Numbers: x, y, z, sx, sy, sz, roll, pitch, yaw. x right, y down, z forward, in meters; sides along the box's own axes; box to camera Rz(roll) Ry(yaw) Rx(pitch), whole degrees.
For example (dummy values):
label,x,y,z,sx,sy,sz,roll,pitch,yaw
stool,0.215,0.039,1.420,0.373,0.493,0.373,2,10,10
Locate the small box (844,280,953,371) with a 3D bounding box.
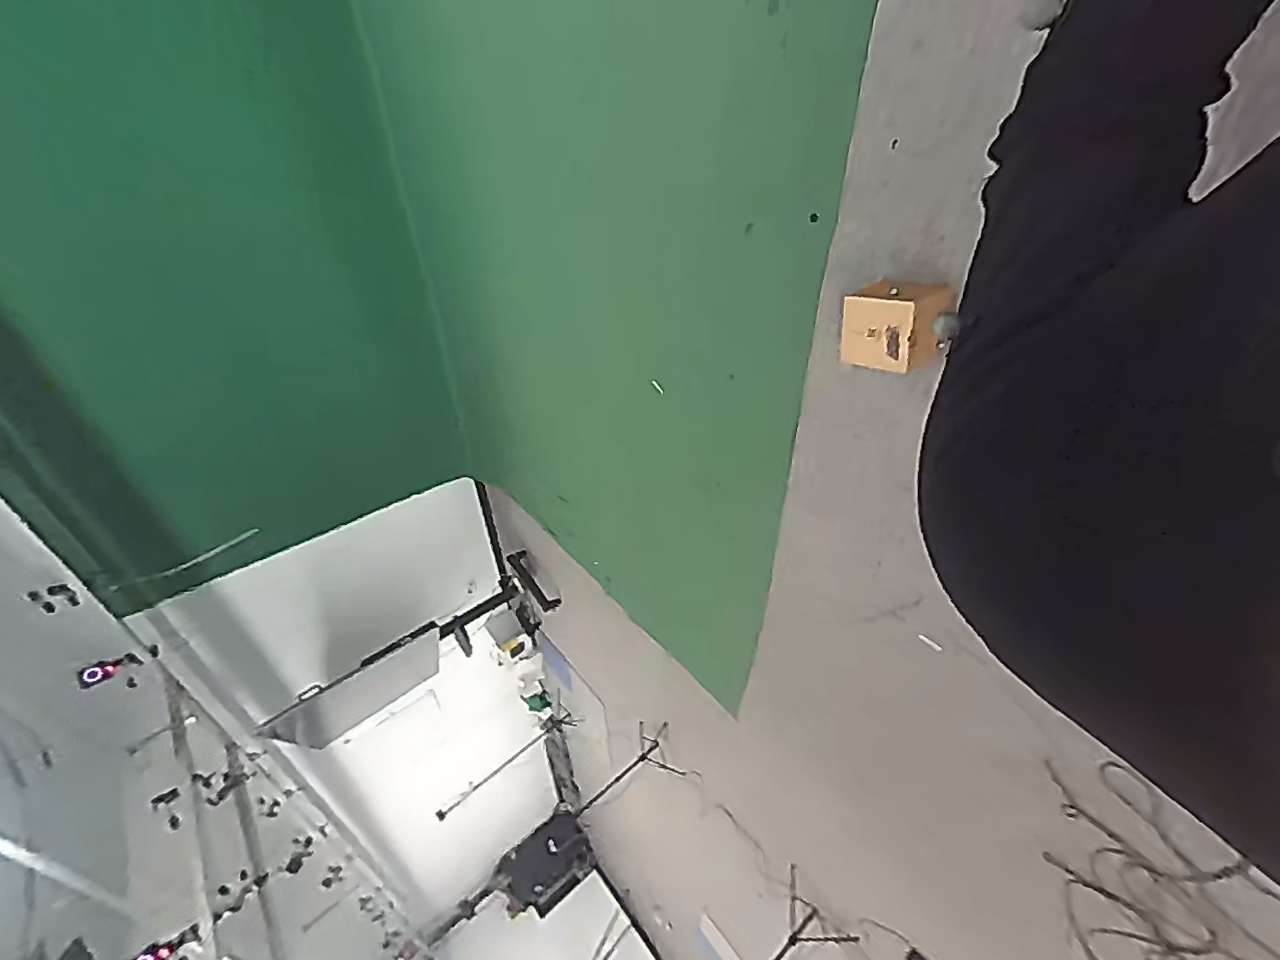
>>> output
label,x,y,z,sx,sy,sz,roll,pitch,yaw
small box,0.622,-0.379,1.305,0.179,0.176,0.168,28,135,46
